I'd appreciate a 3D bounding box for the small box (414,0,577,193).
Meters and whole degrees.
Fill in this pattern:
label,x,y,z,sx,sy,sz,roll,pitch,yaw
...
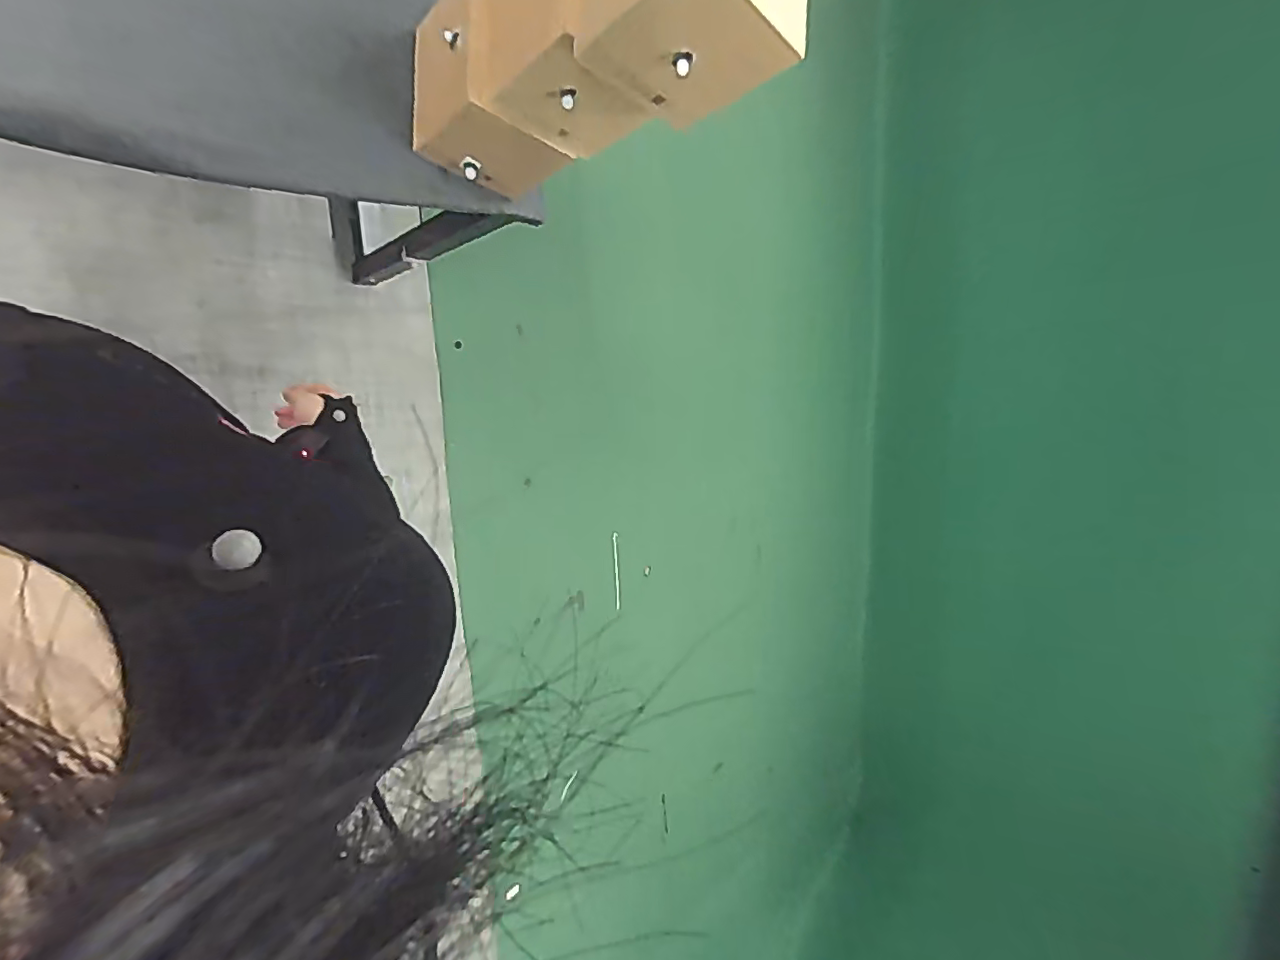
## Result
label,x,y,z,sx,sy,sz,roll,pitch,yaw
small box,-0.199,-0.537,0.748,0.168,0.176,0.179,1,92,-44

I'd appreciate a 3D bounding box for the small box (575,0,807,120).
label,x,y,z,sx,sy,sz,roll,pitch,yaw
small box,0.049,-0.505,0.534,0.168,0.176,0.179,0,91,-45

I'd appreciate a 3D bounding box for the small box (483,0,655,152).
label,x,y,z,sx,sy,sz,roll,pitch,yaw
small box,-0.074,-0.533,0.643,0.168,0.176,0.179,-1,92,-45
